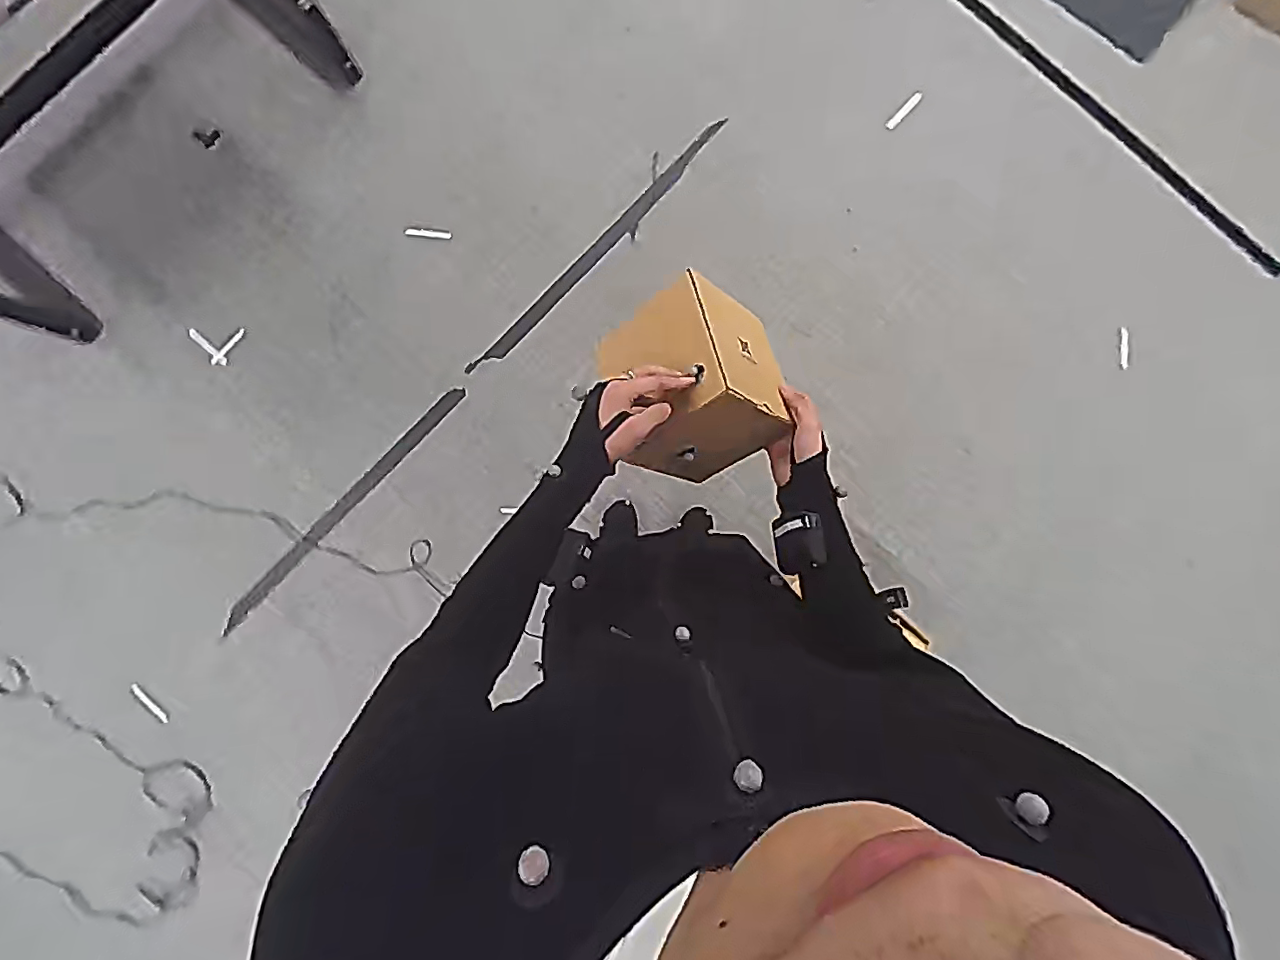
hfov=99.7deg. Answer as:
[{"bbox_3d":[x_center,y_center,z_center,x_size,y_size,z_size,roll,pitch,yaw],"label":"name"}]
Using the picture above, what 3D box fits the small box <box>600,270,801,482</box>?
[{"bbox_3d":[0.069,-0.119,0.688,0.176,0.168,0.179,-31,62,34],"label":"small box"}]
